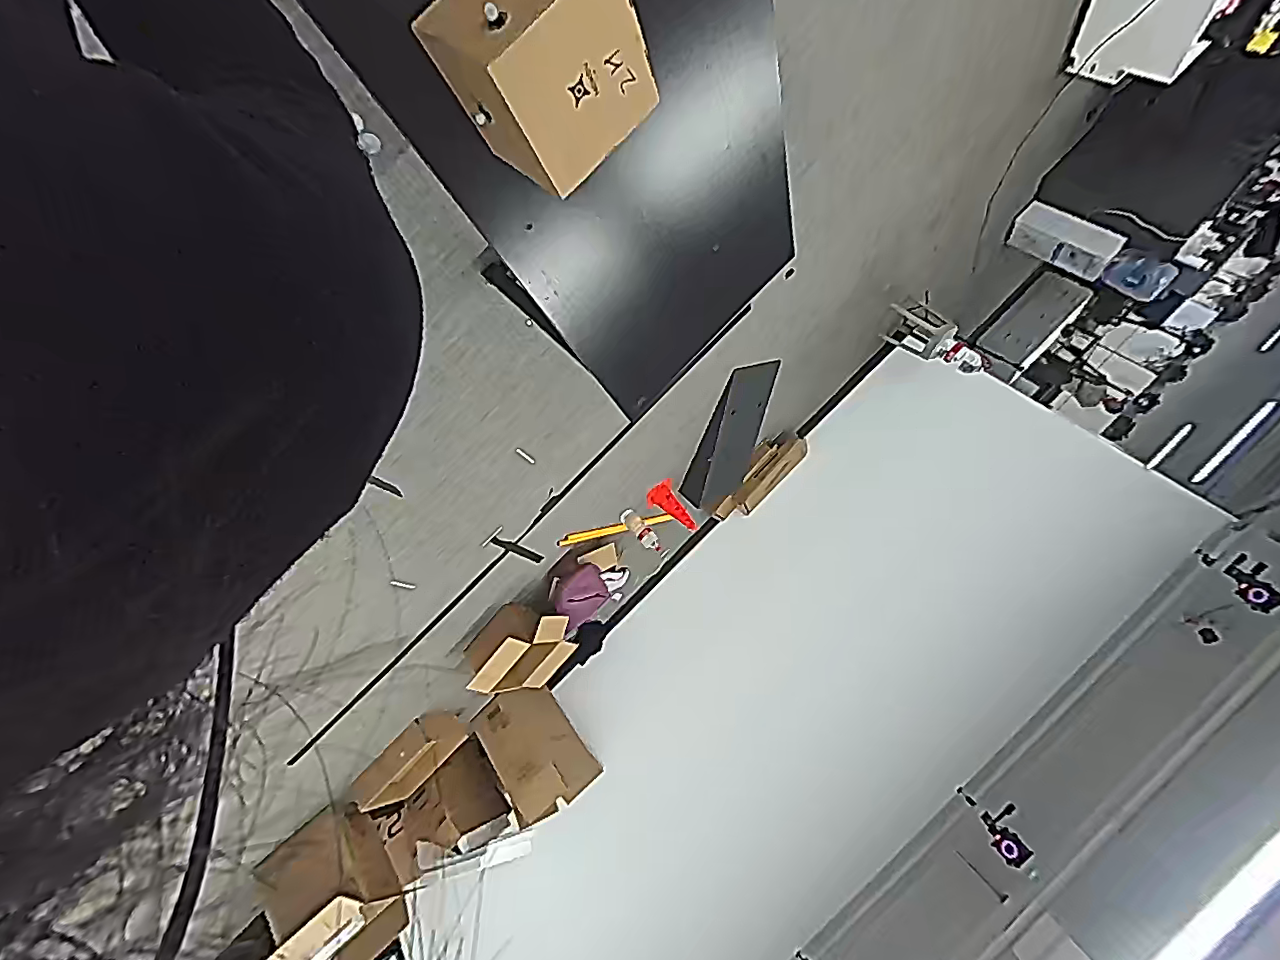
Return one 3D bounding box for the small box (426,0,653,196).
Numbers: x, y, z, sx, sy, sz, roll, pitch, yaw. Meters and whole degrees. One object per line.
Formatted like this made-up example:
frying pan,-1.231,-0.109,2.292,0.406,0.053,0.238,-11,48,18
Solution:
small box,-0.120,-0.485,0.633,0.179,0.176,0.168,-46,154,0
